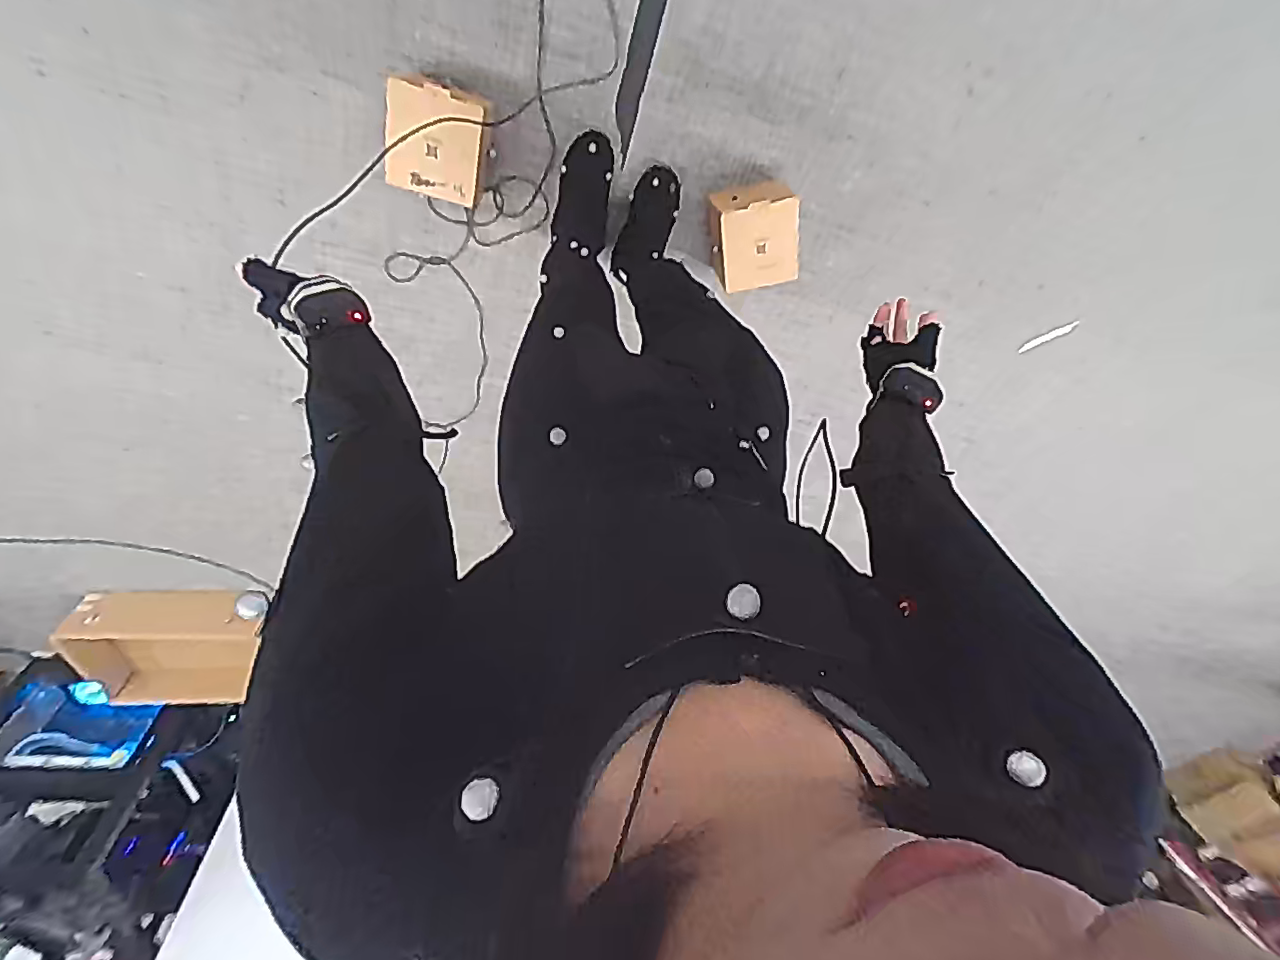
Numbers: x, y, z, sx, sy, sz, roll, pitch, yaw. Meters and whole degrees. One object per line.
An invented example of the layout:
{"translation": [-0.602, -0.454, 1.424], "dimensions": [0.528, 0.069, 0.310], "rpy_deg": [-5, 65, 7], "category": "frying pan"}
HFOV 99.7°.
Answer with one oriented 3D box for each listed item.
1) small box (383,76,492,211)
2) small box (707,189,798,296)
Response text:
{"translation": [-0.390, -0.657, 1.057], "dimensions": [0.168, 0.176, 0.179], "rpy_deg": [11, 124, -14], "category": "small box"}
{"translation": [0.251, -0.542, 1.222], "dimensions": [0.168, 0.176, 0.179], "rpy_deg": [-10, 129, 4], "category": "small box"}
